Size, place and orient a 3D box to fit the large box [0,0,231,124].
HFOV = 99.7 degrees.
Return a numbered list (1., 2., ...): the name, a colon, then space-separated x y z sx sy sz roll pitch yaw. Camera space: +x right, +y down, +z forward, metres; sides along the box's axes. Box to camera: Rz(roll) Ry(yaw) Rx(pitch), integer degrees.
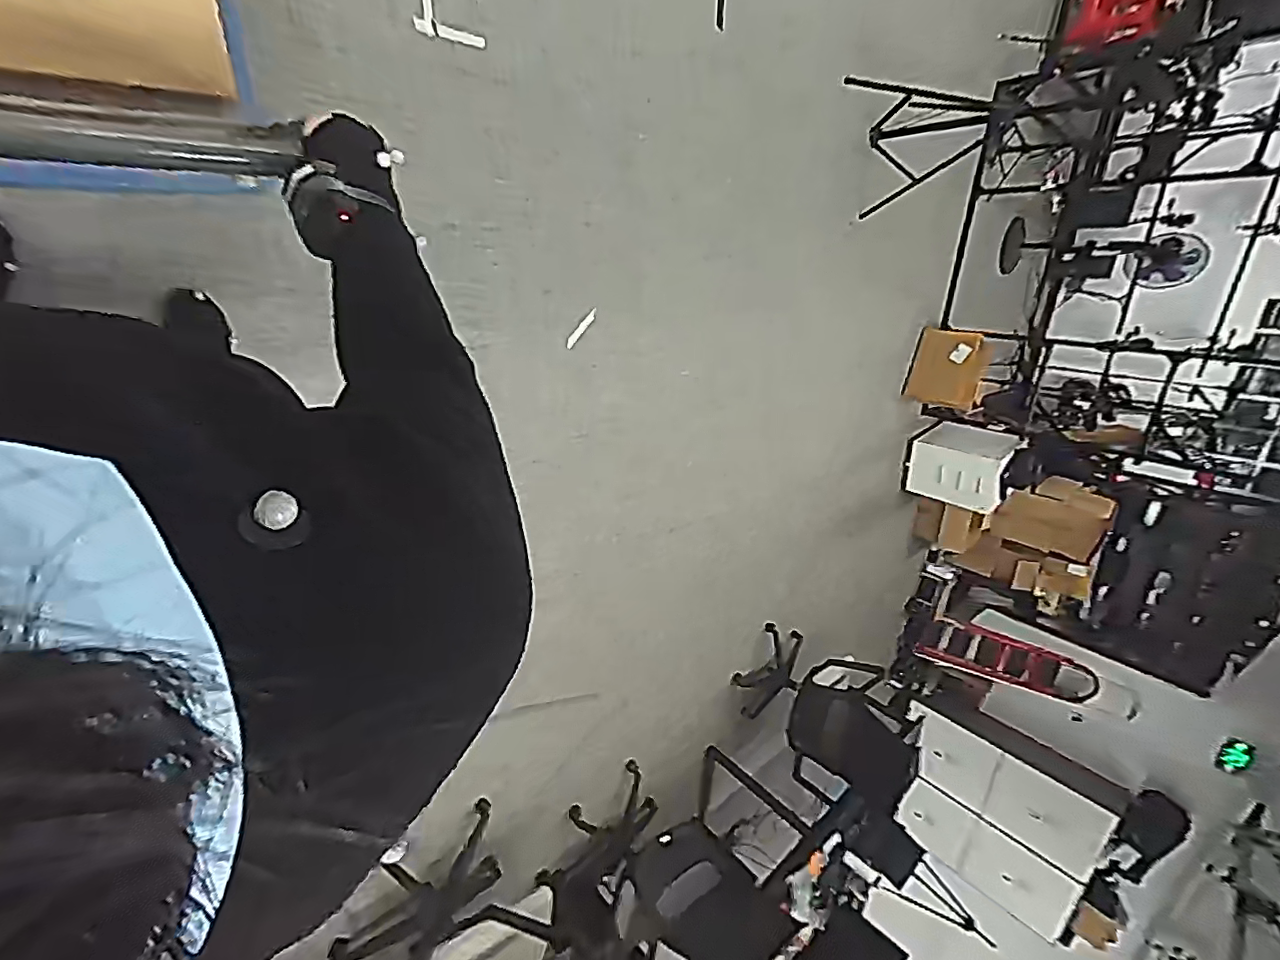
1. large box: -0.803 -0.656 0.653 0.408 0.320 0.320 -20 121 -39
